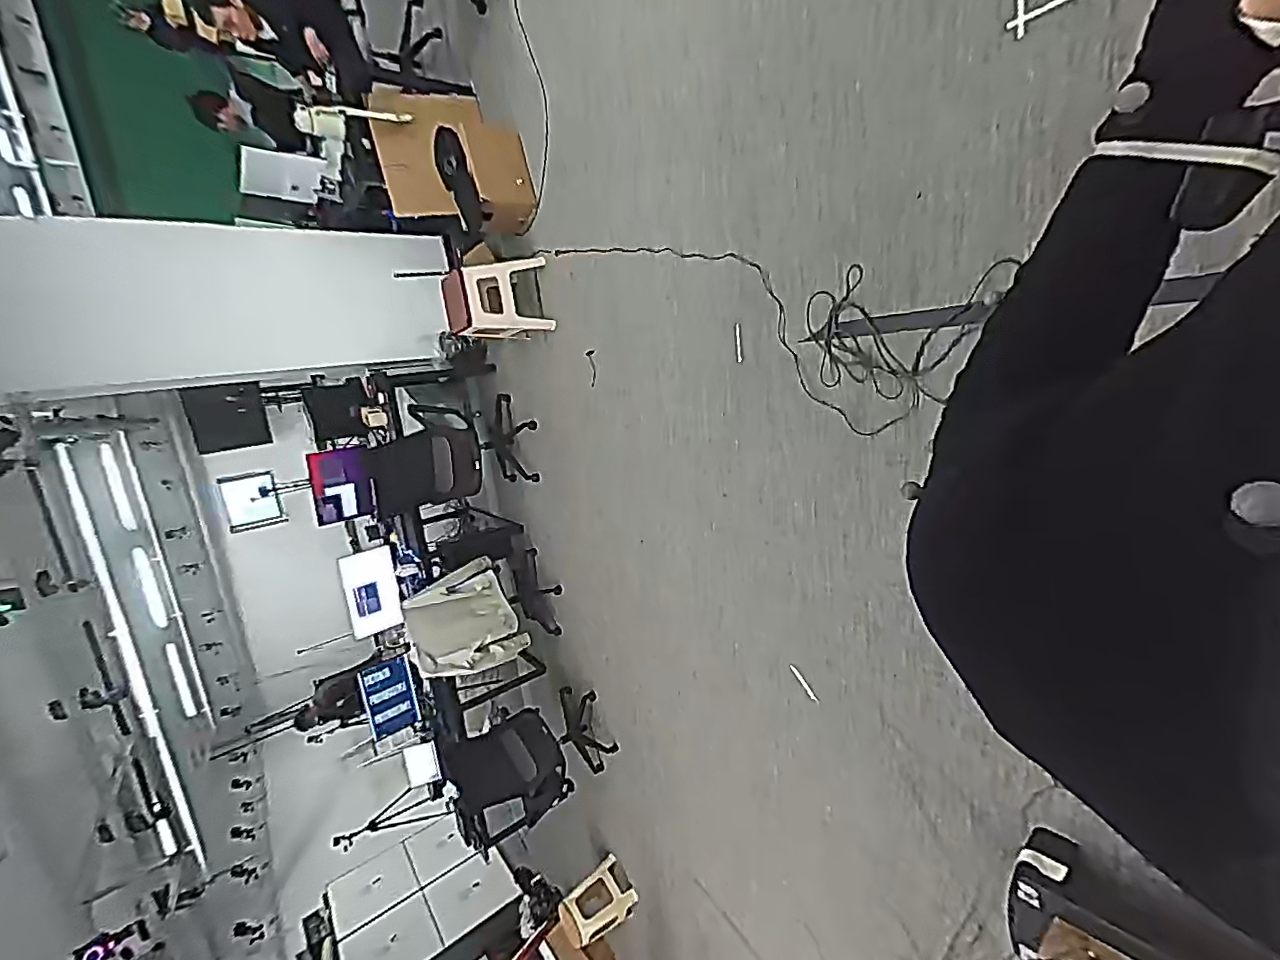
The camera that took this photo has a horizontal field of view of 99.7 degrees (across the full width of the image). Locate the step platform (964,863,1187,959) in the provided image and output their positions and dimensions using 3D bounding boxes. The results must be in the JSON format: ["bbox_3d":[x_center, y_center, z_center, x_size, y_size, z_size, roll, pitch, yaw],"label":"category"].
[{"bbox_3d":[1.077,1.143,1.112,0.684,0.204,0.286,7,109,53],"label":"step platform"}]
